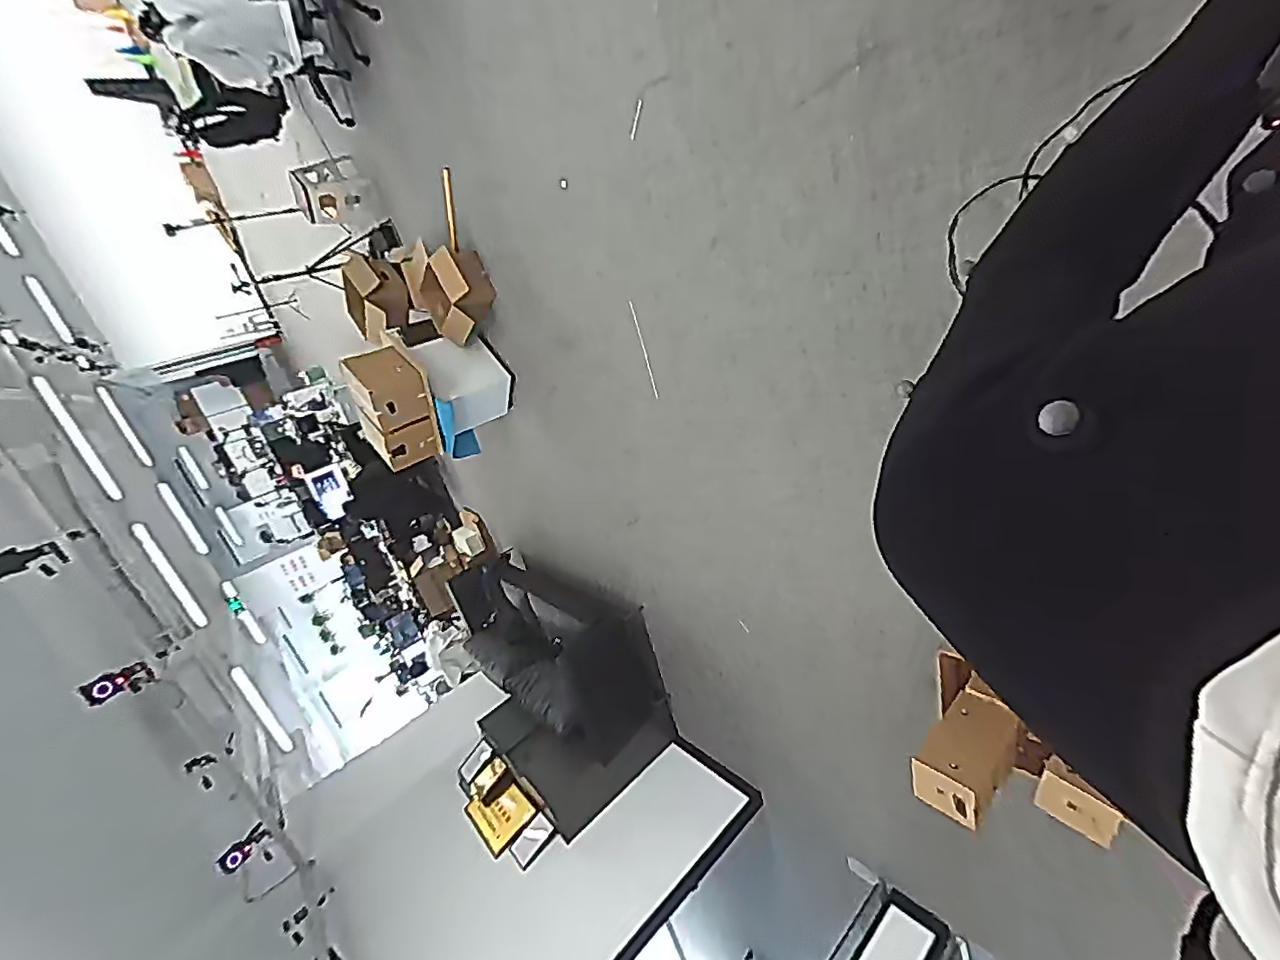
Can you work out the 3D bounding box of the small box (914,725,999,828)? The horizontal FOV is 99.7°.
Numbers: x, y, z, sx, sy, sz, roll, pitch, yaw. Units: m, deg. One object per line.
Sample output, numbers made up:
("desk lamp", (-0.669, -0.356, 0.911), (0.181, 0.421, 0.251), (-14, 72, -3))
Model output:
("small box", (0.943, 0.870, 1.608), (0.179, 0.176, 0.168), (15, 126, 49))
